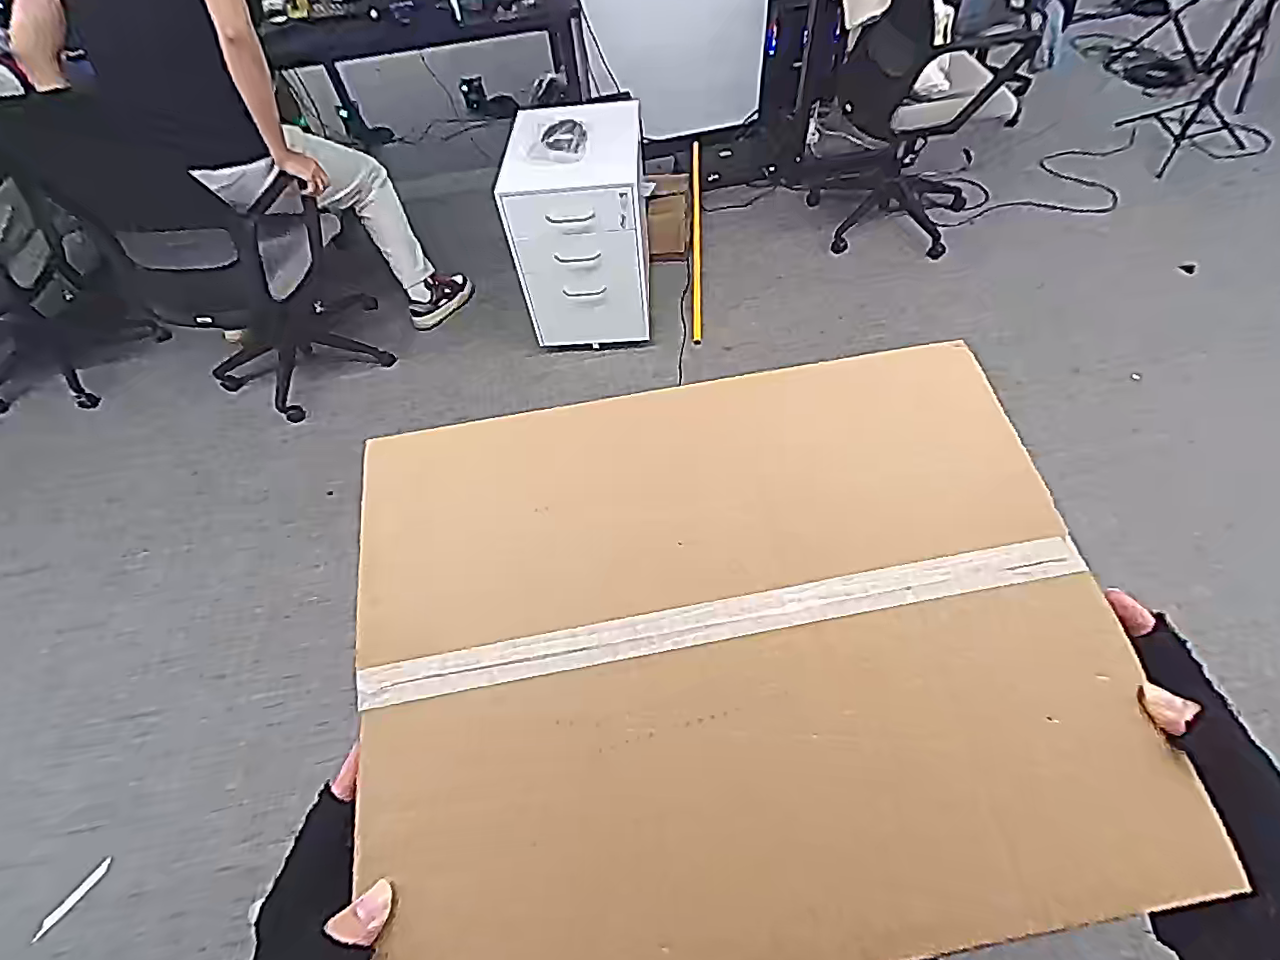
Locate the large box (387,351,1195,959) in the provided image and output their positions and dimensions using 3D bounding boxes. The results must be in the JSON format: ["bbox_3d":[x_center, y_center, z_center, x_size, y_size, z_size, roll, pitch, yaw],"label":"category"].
[{"bbox_3d":[0.056,0.142,0.451,0.408,0.320,0.320,-10,67,-2],"label":"large box"}]
